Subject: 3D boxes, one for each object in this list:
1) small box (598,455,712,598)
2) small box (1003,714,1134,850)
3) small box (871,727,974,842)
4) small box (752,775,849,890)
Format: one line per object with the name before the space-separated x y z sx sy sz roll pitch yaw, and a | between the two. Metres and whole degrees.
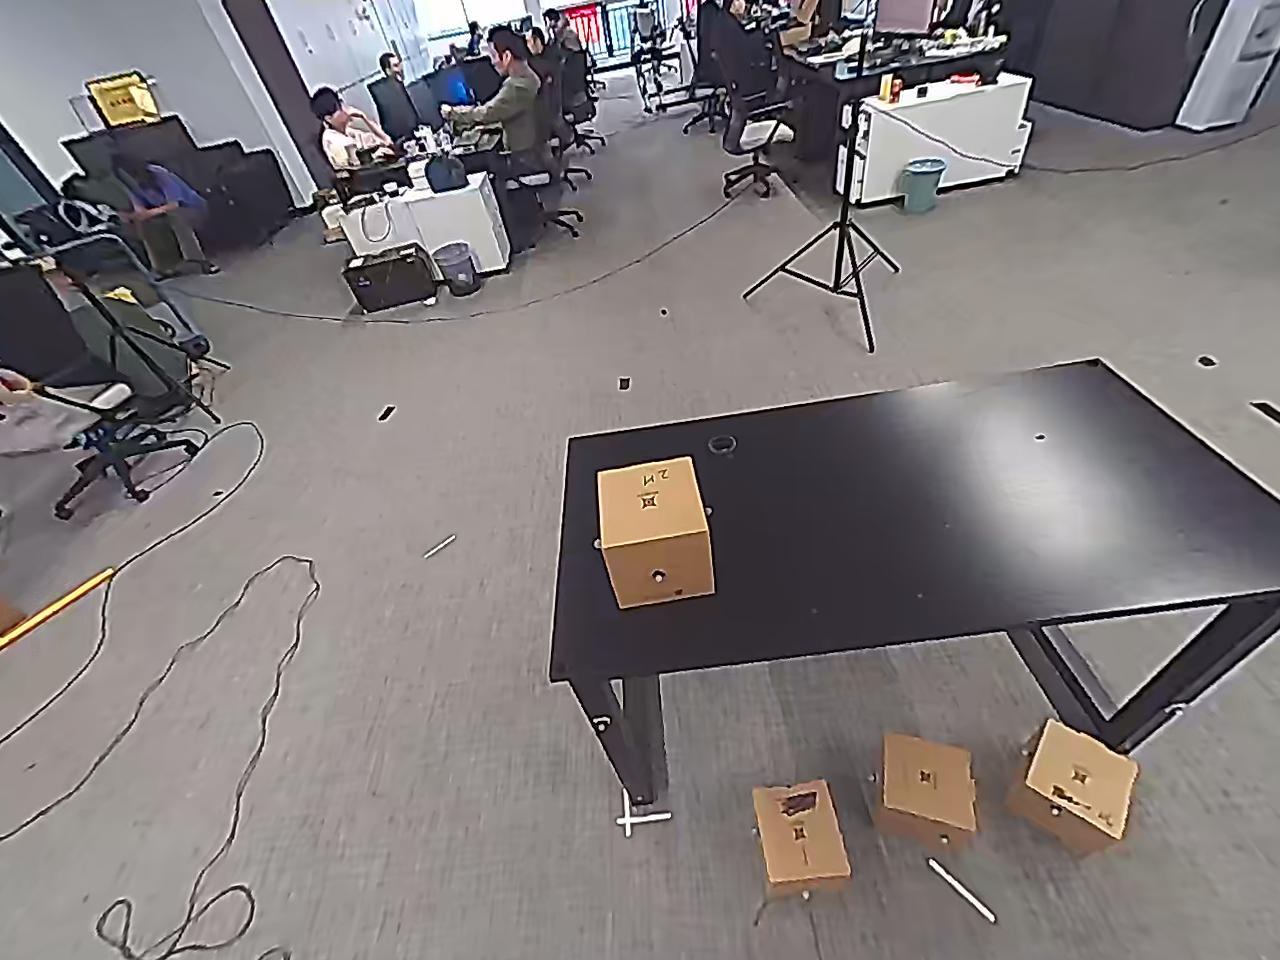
small box | 0.026 0.086 0.929 0.168 0.176 0.179 -10 43 2
small box | 0.932 0.664 1.189 0.168 0.176 0.179 26 55 34
small box | 0.633 0.695 1.228 0.179 0.176 0.168 6 46 20
small box | 0.346 0.783 1.200 0.168 0.176 0.179 -9 45 4
